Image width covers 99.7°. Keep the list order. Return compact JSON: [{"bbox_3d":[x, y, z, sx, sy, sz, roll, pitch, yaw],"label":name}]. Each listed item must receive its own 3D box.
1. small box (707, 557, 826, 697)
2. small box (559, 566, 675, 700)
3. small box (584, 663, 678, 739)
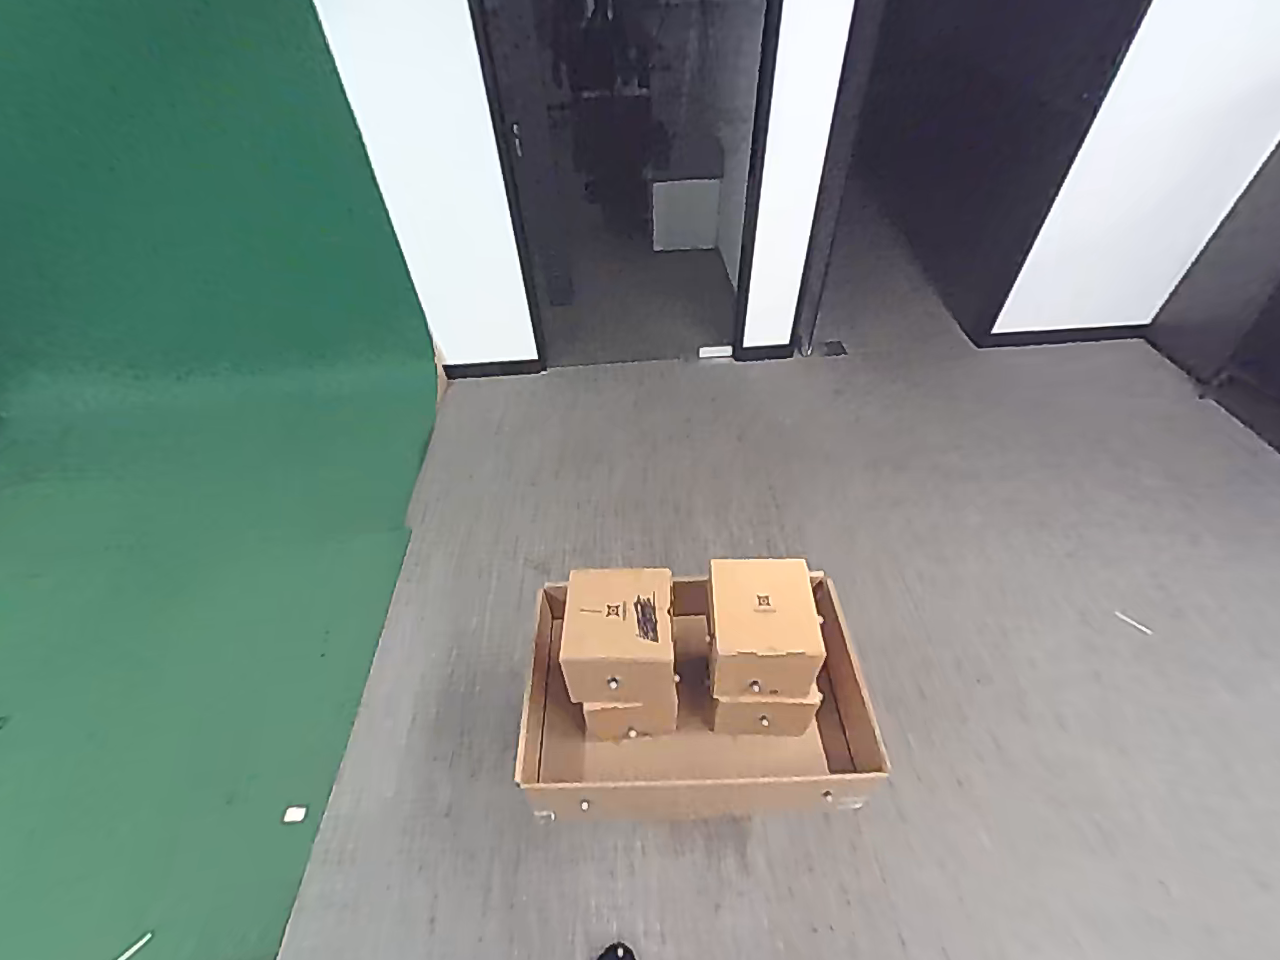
[{"bbox_3d":[0.205,0.252,0.931,0.168,0.176,0.179,-1,46,3],"label":"small box"},{"bbox_3d":[-0.031,0.264,0.926,0.179,0.176,0.168,0,46,3],"label":"small box"},{"bbox_3d":[-0.021,0.376,1.045,0.168,0.176,0.179,-5,46,-2],"label":"small box"}]
